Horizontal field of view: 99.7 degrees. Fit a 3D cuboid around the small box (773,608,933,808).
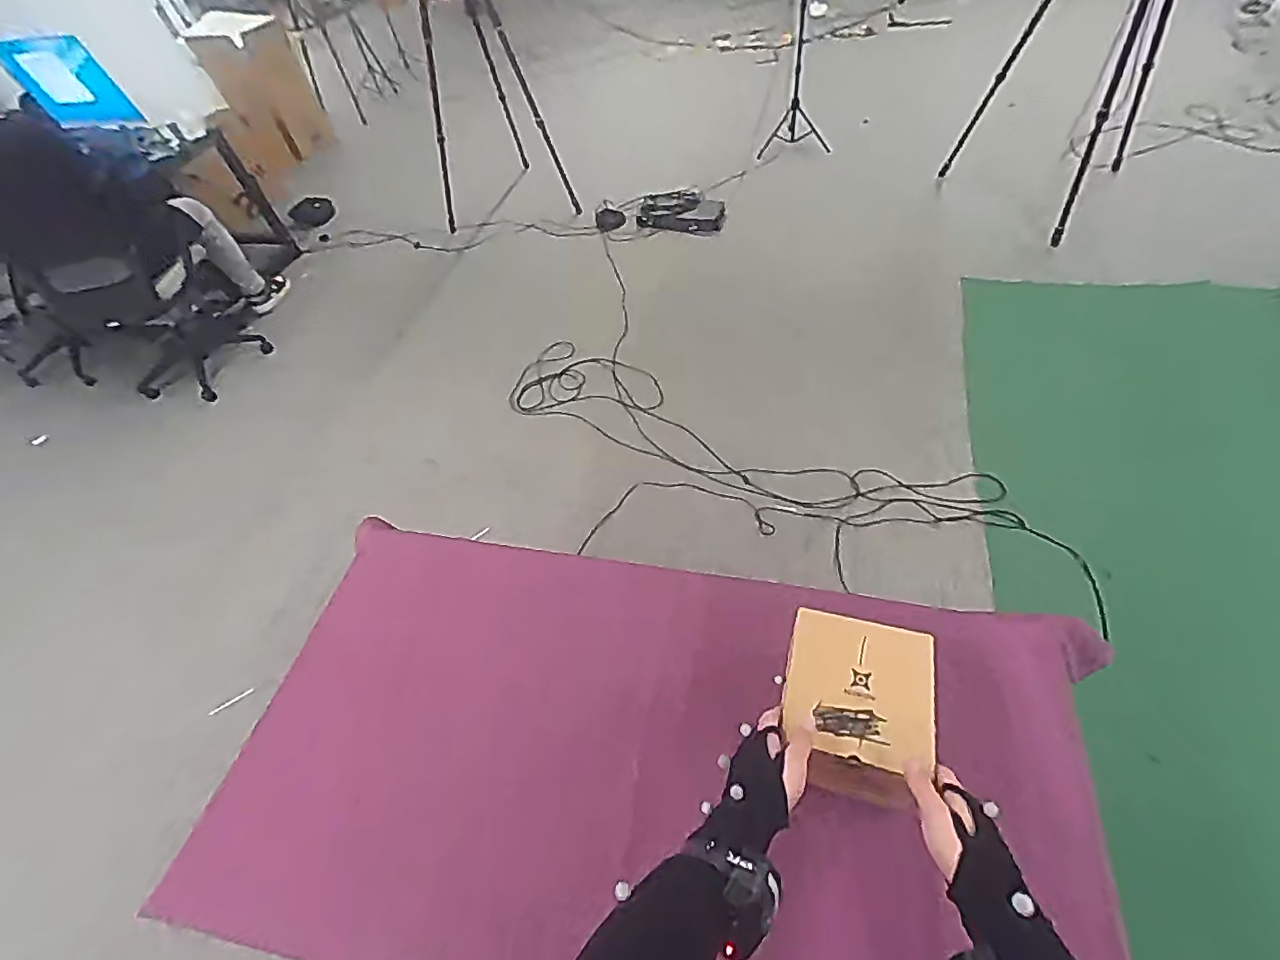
[{"bbox_3d":[0.269,0.298,0.703,0.168,0.176,0.179,10,52,17],"label":"small box"}]
